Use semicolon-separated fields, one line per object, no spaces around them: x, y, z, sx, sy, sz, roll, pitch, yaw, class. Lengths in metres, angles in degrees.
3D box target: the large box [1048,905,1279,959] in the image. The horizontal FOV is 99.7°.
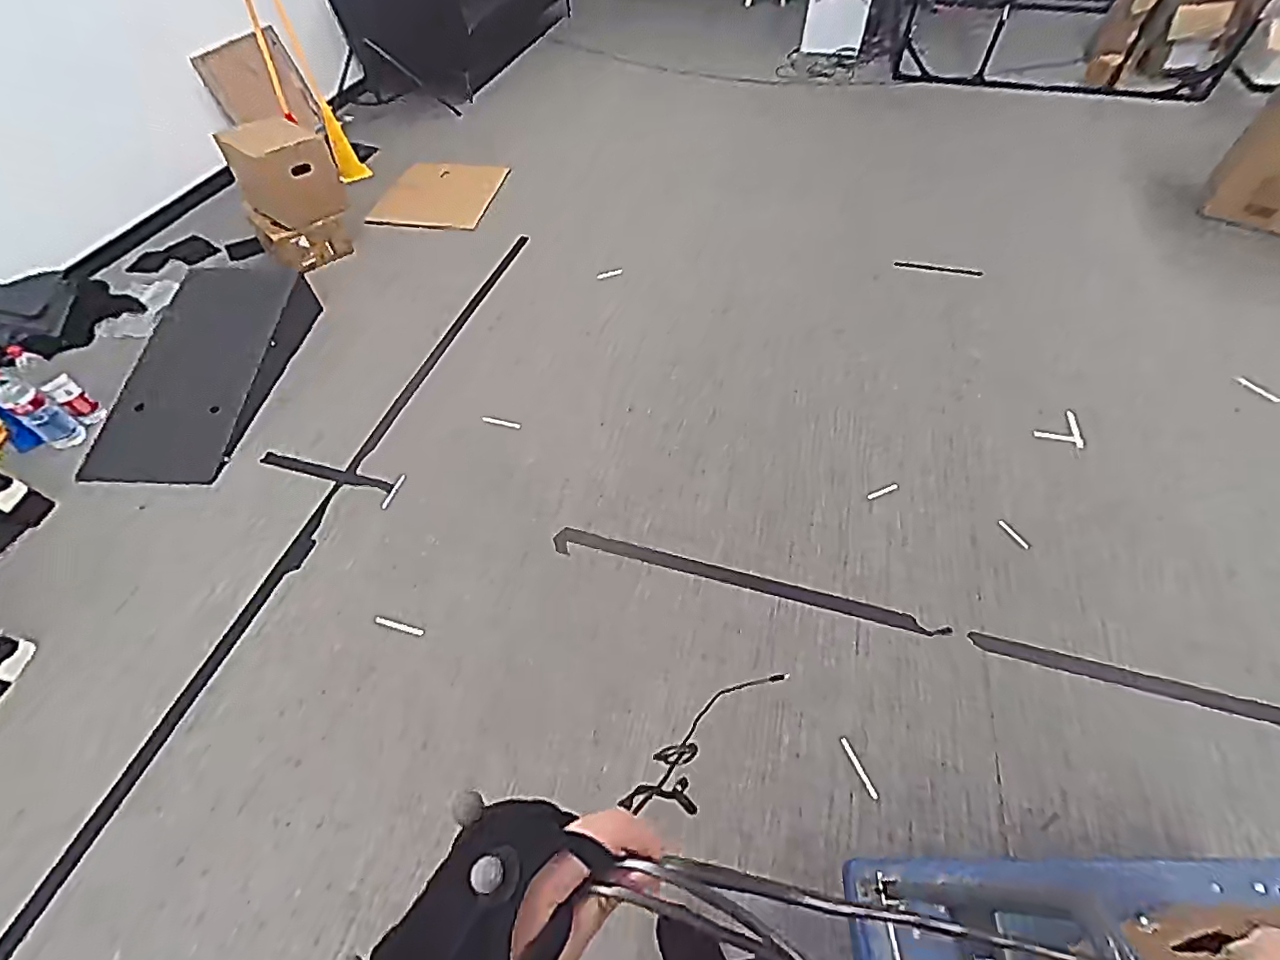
0.885;0.883;0.742;0.320;0.320;0.408;-13;55;-8;large box
